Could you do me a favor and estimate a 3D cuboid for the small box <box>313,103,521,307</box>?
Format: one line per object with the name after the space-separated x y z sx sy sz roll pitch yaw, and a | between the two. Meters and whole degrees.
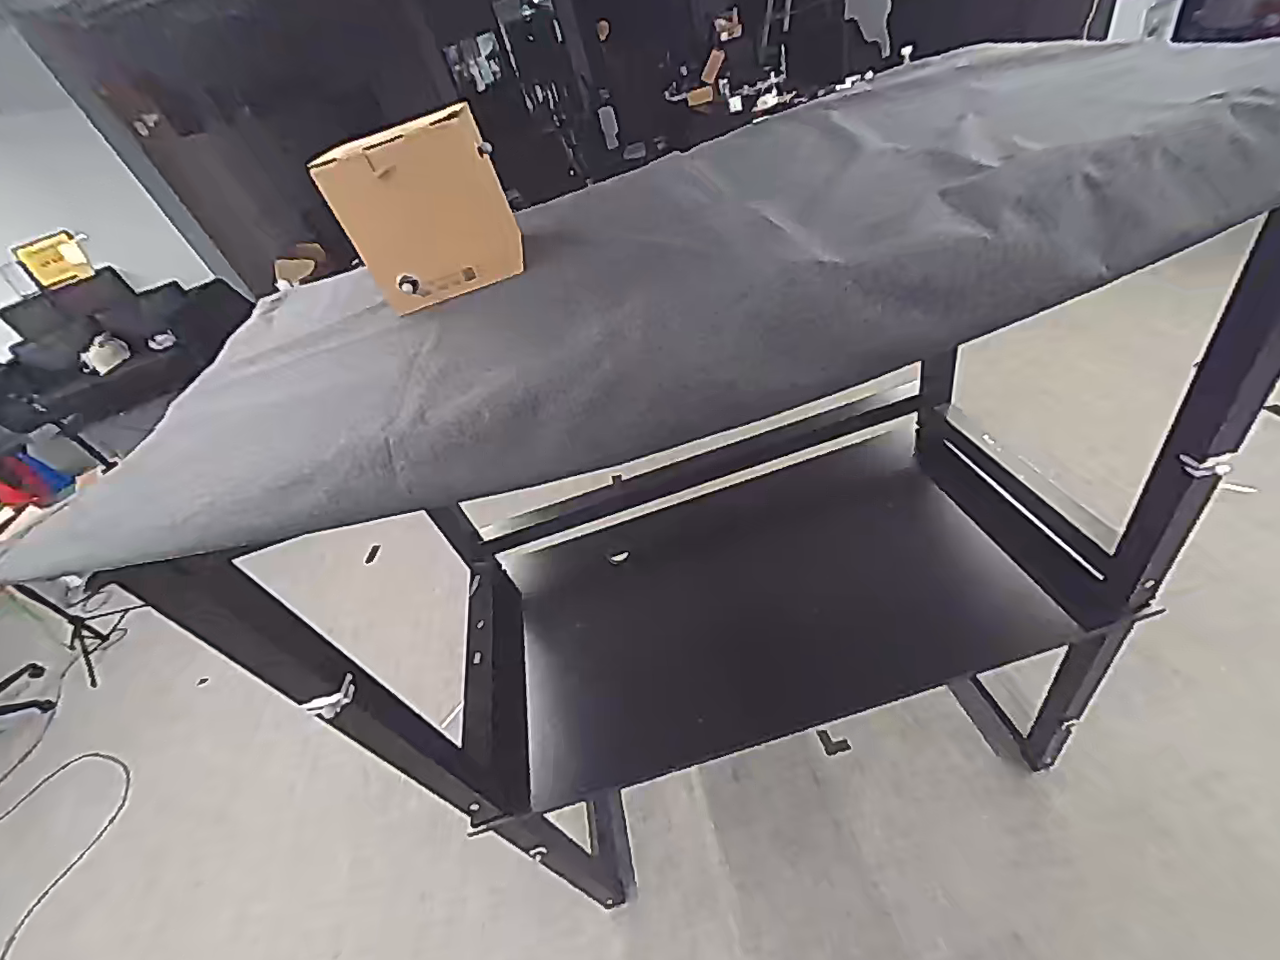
-0.254 -0.334 0.667 0.168 0.176 0.179 -18 39 2 | small box
